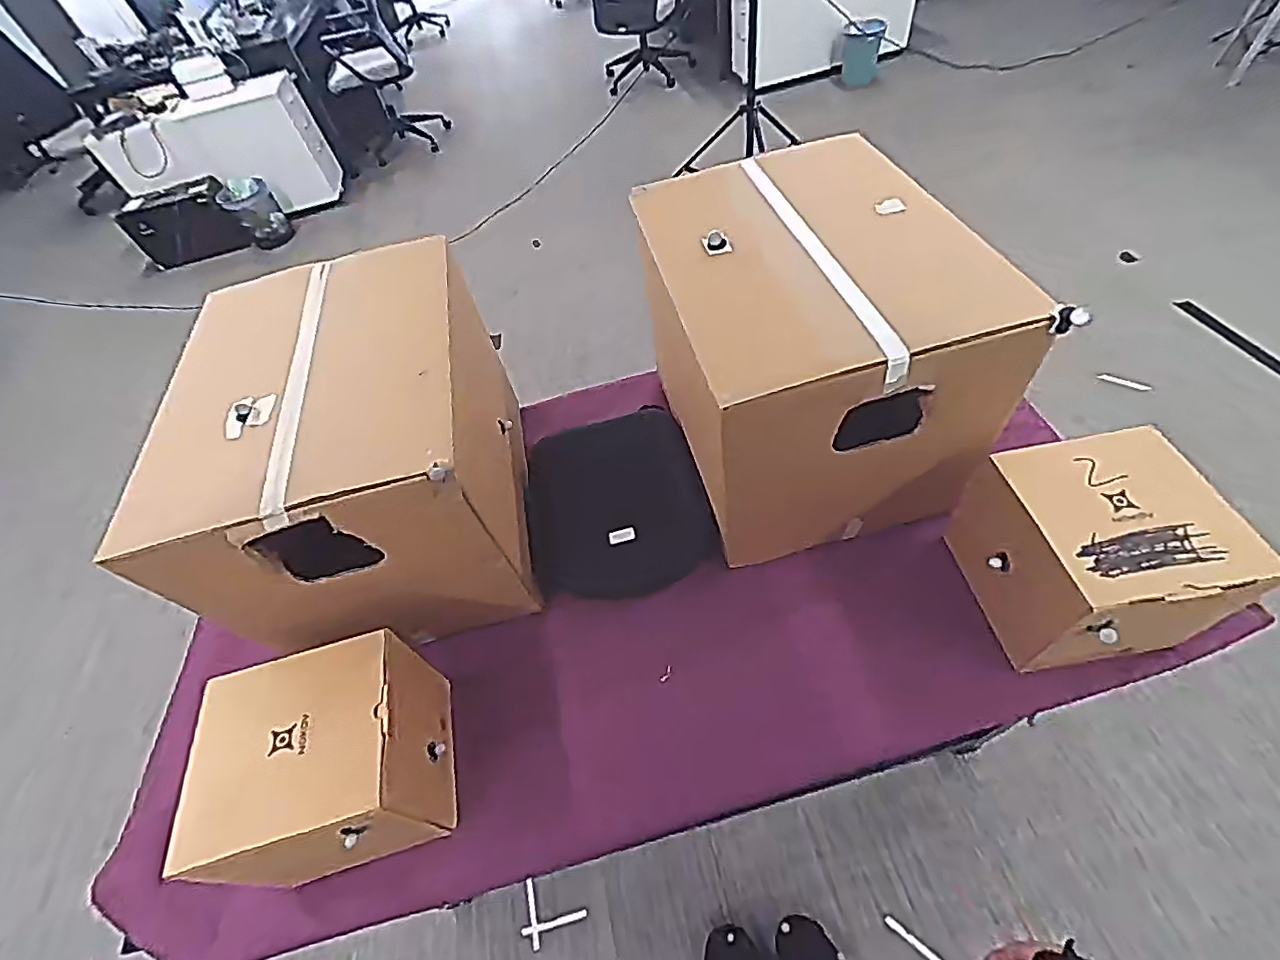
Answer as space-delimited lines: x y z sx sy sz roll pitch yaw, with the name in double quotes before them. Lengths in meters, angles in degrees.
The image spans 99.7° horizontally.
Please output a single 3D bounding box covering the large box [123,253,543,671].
"large box" -0.338 -0.023 0.710 0.320 0.320 0.408 -16 55 -2
